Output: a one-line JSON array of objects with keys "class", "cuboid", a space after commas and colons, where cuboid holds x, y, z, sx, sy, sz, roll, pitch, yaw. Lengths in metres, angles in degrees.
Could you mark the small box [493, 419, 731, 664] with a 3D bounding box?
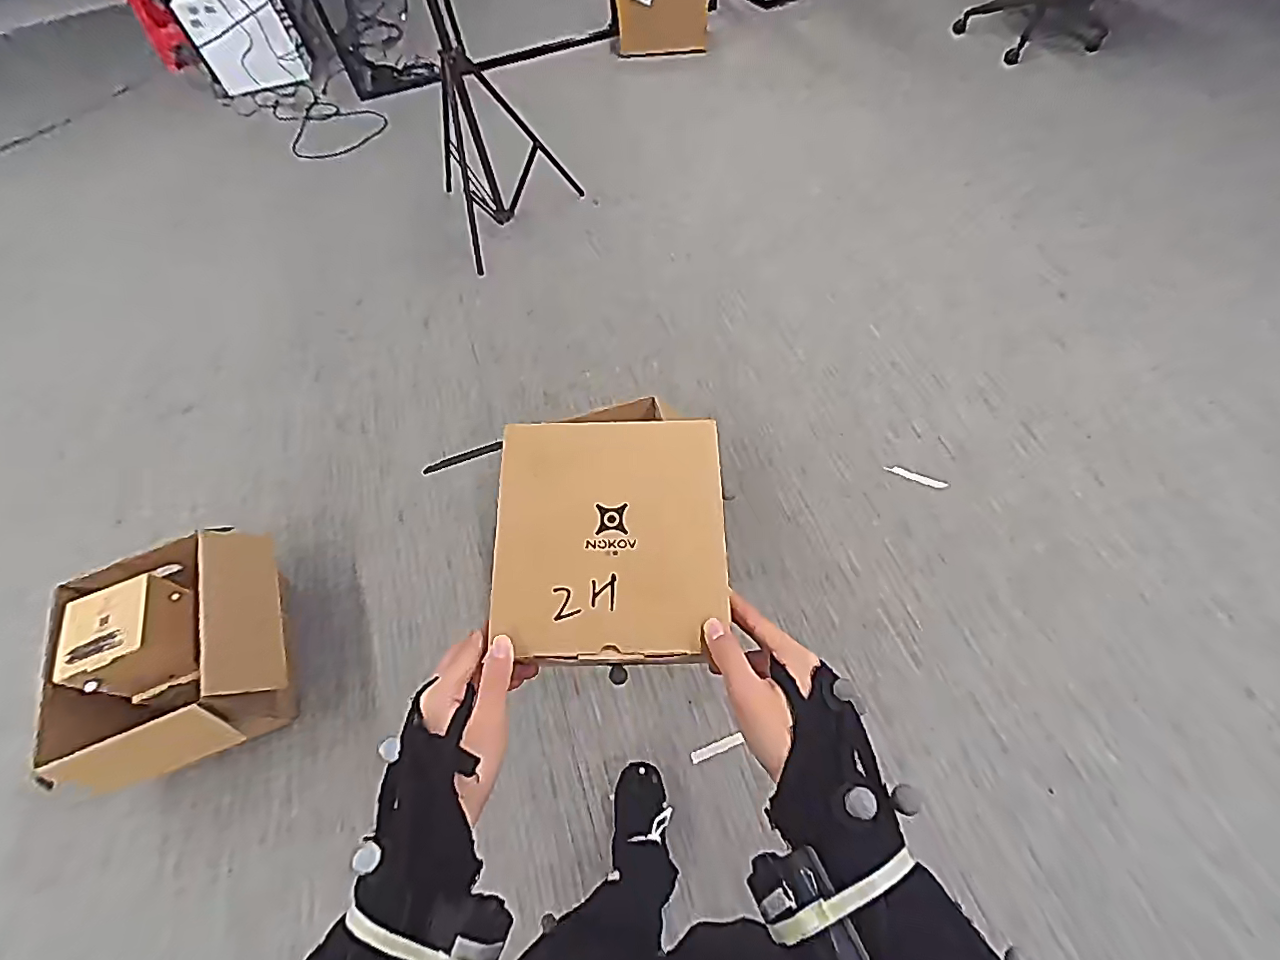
[{"class": "small box", "cuboid": [-0.019, 0.063, 0.471, 0.168, 0.176, 0.179, -2, 69, 1]}]
